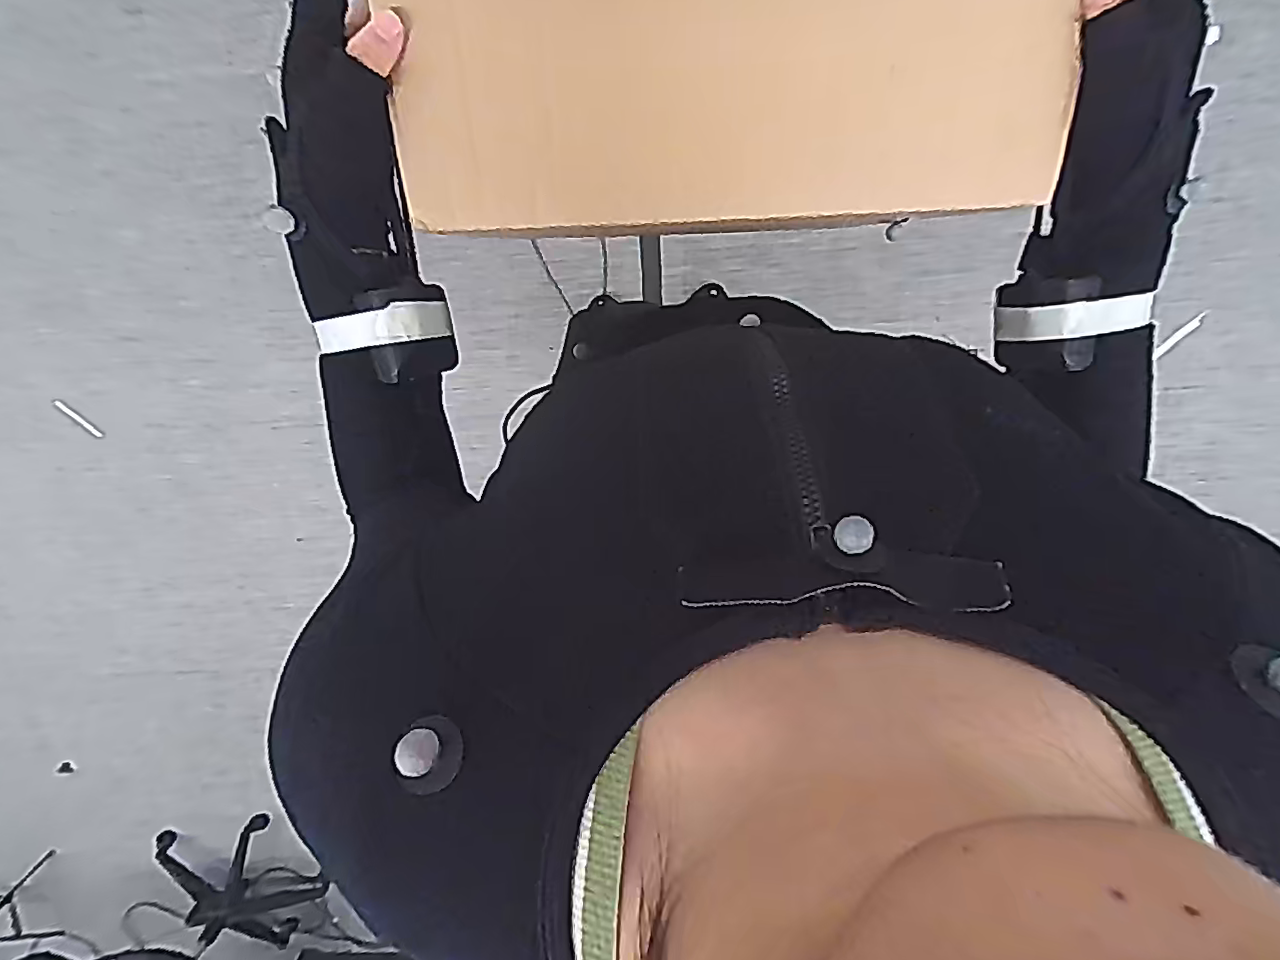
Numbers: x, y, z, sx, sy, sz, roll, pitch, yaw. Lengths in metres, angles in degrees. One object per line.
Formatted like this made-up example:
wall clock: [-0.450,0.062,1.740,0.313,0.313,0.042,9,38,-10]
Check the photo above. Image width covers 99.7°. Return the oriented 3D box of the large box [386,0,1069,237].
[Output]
large box: [0.048,-0.372,0.429,0.408,0.320,0.320,-3,113,-1]
